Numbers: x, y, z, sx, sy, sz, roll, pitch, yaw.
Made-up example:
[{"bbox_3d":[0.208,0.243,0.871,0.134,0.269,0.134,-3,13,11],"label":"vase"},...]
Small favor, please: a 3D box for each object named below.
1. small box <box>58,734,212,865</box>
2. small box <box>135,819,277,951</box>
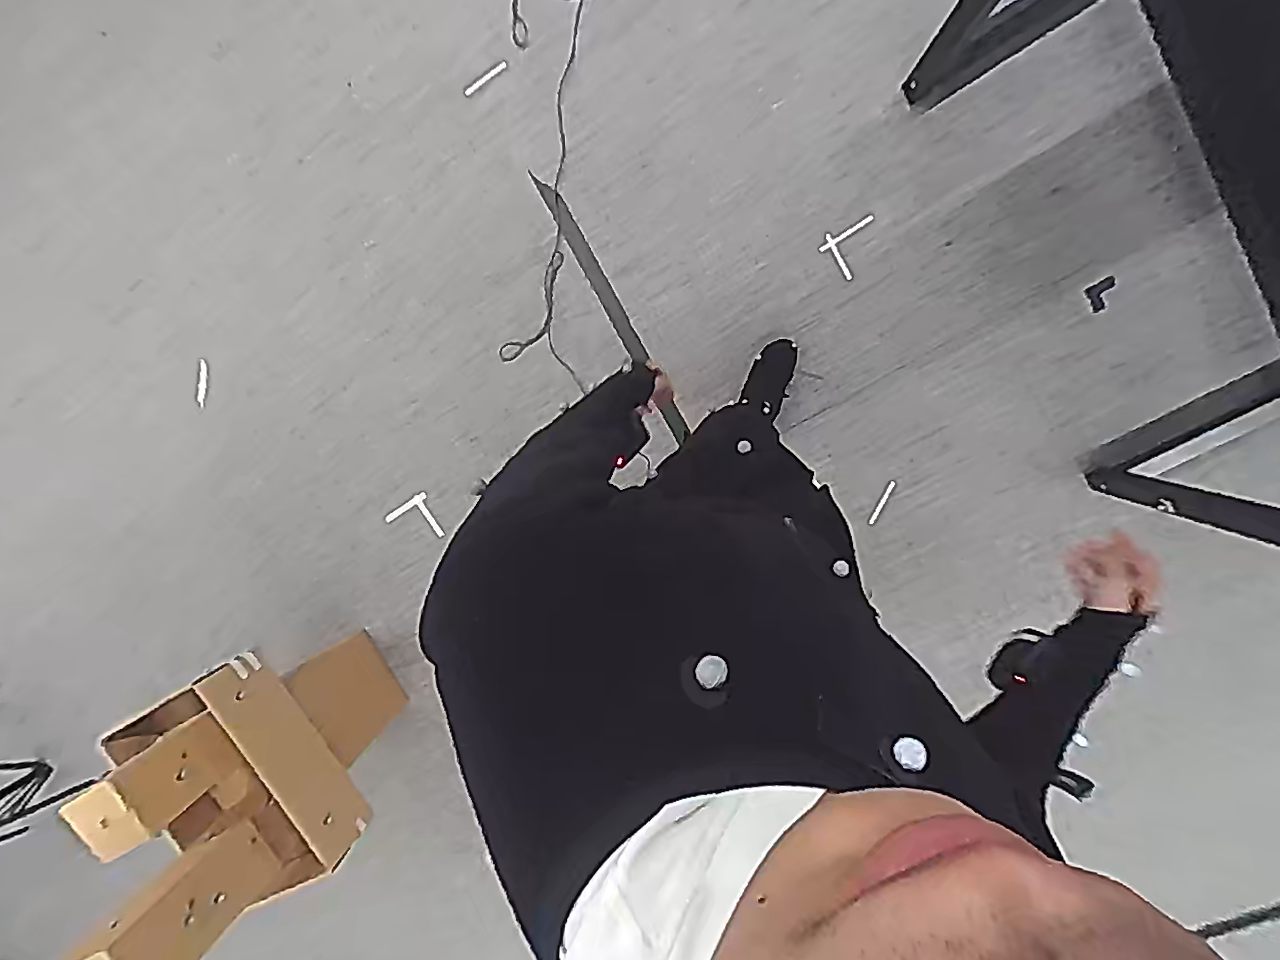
[{"bbox_3d":[-1.178,0.745,1.274,0.179,0.176,0.168,-32,97,12],"label":"small box"},{"bbox_3d":[-1.037,0.970,1.306,0.179,0.176,0.168,-29,97,13],"label":"small box"}]
